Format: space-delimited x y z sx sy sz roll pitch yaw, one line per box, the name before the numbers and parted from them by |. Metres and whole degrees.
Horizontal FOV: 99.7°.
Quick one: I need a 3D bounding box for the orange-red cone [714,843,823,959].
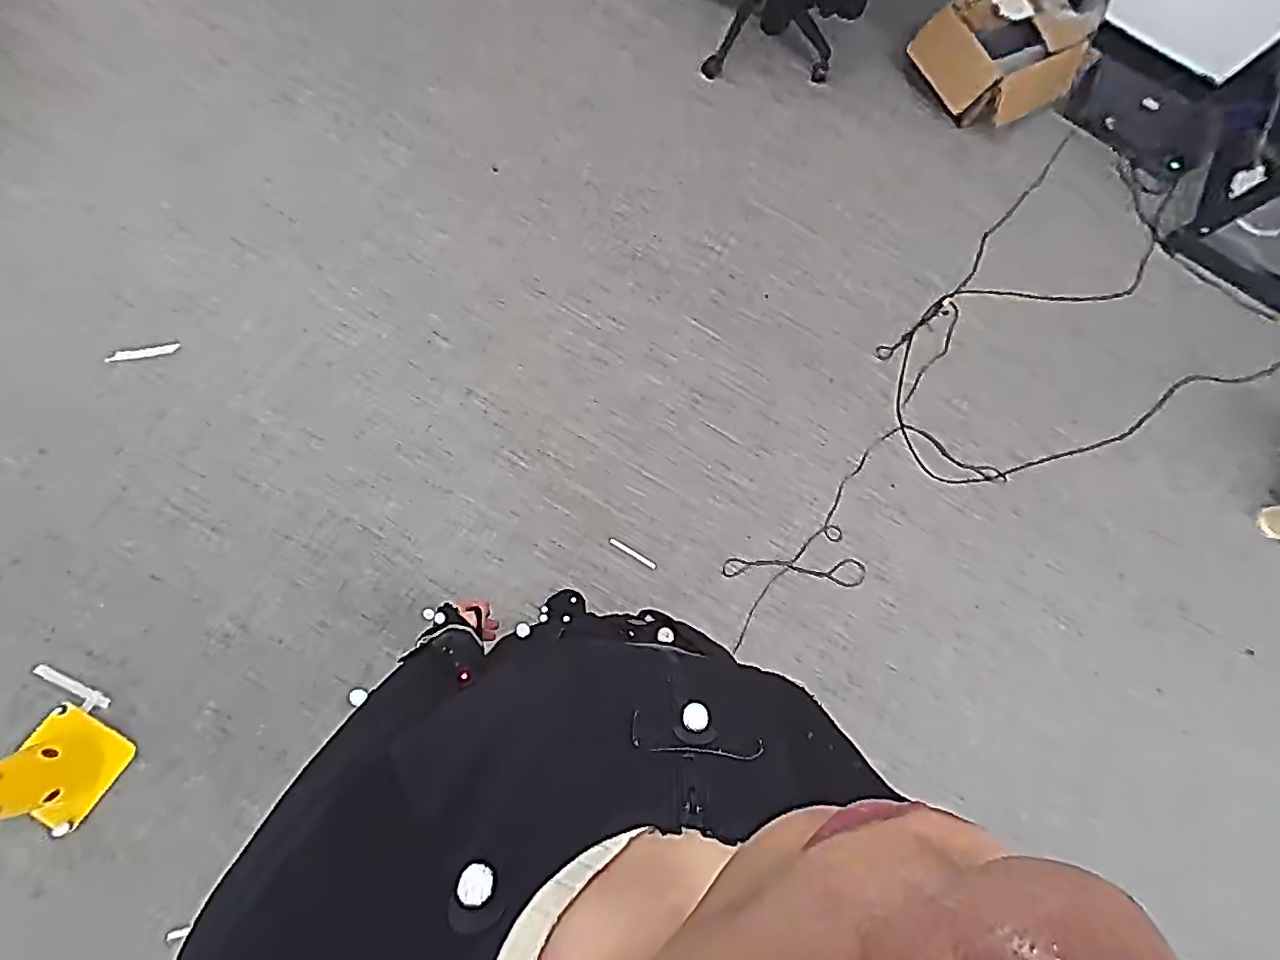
orange-red cone | 0.311 0.953 1.109 0.199 0.360 0.198 26 75 -1
